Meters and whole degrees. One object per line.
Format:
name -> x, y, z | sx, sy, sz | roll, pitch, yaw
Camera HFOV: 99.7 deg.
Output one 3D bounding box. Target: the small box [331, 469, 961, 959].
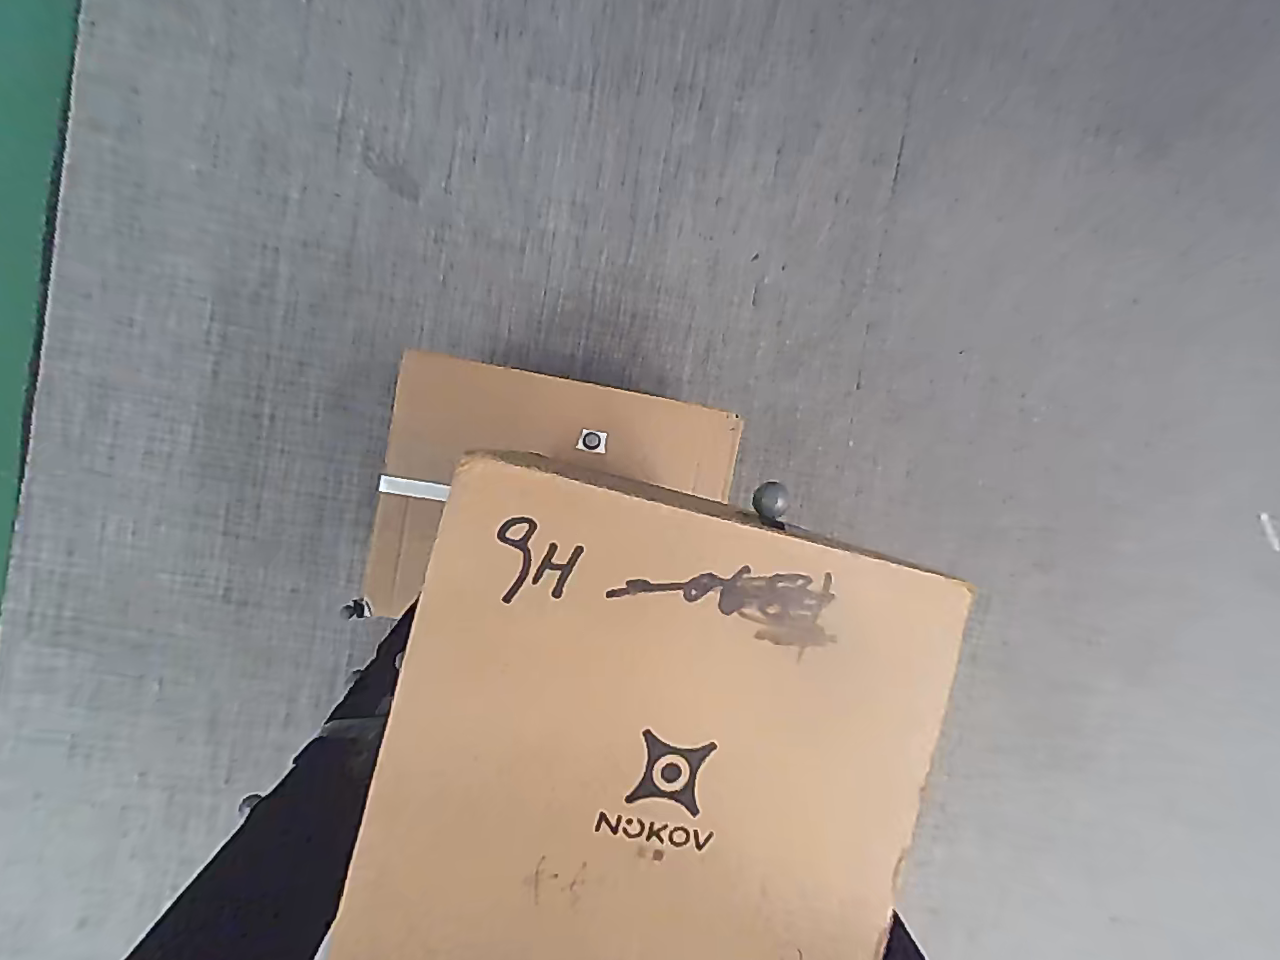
small box -> -0.005, 0.101, 0.246 | 0.168, 0.176, 0.179 | 15, 92, -7
